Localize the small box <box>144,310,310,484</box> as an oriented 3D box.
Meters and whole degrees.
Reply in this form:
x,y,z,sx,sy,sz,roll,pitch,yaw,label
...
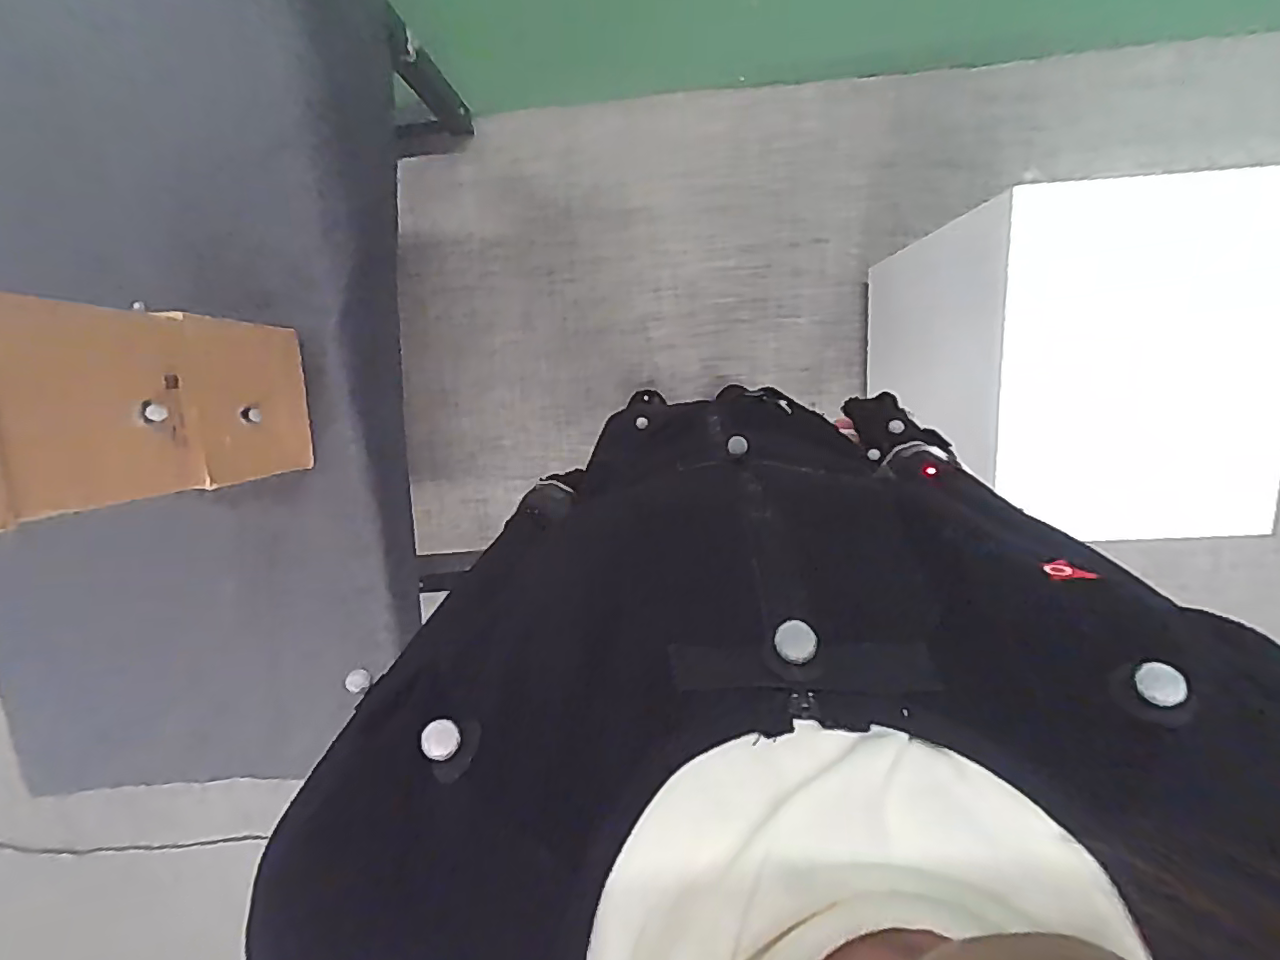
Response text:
x,y,z,sx,sy,sz,roll,pitch,yaw,label
-0.517,-0.097,0.626,0.168,0.176,0.179,0,101,4,small box
